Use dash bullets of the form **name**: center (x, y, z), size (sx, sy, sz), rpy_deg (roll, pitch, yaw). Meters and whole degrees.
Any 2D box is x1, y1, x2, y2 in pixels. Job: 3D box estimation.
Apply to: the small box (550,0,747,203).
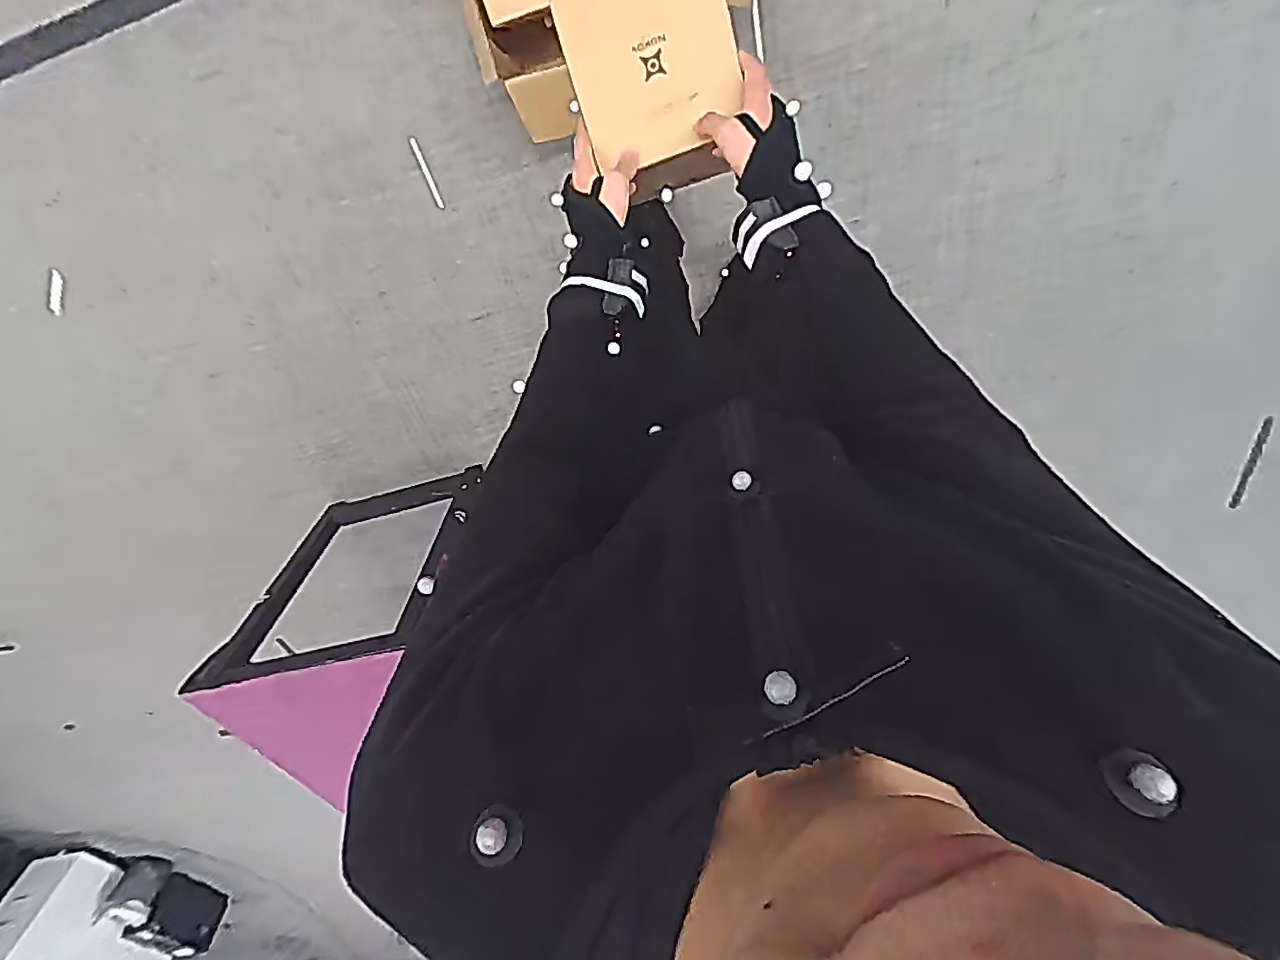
- **small box**: center (0.015, -0.448, 0.618), size (0.168, 0.176, 0.179), rpy_deg (-15, 105, 9)
